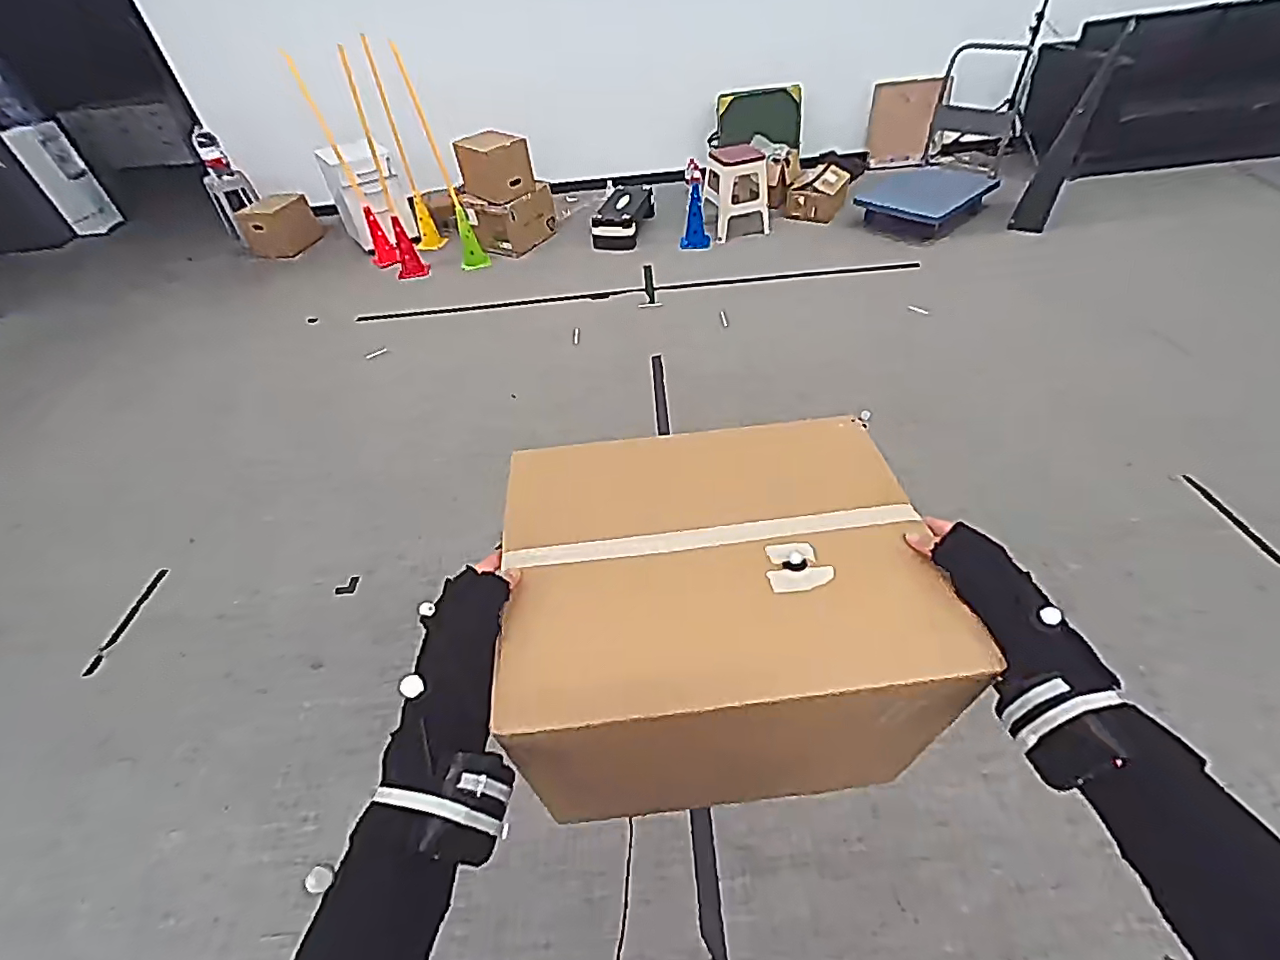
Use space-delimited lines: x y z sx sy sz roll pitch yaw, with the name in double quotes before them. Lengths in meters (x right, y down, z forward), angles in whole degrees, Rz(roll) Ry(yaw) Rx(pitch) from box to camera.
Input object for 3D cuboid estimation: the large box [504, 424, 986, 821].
"large box" 0.078 0.167 0.639 0.408 0.320 0.320 -6 47 -2
